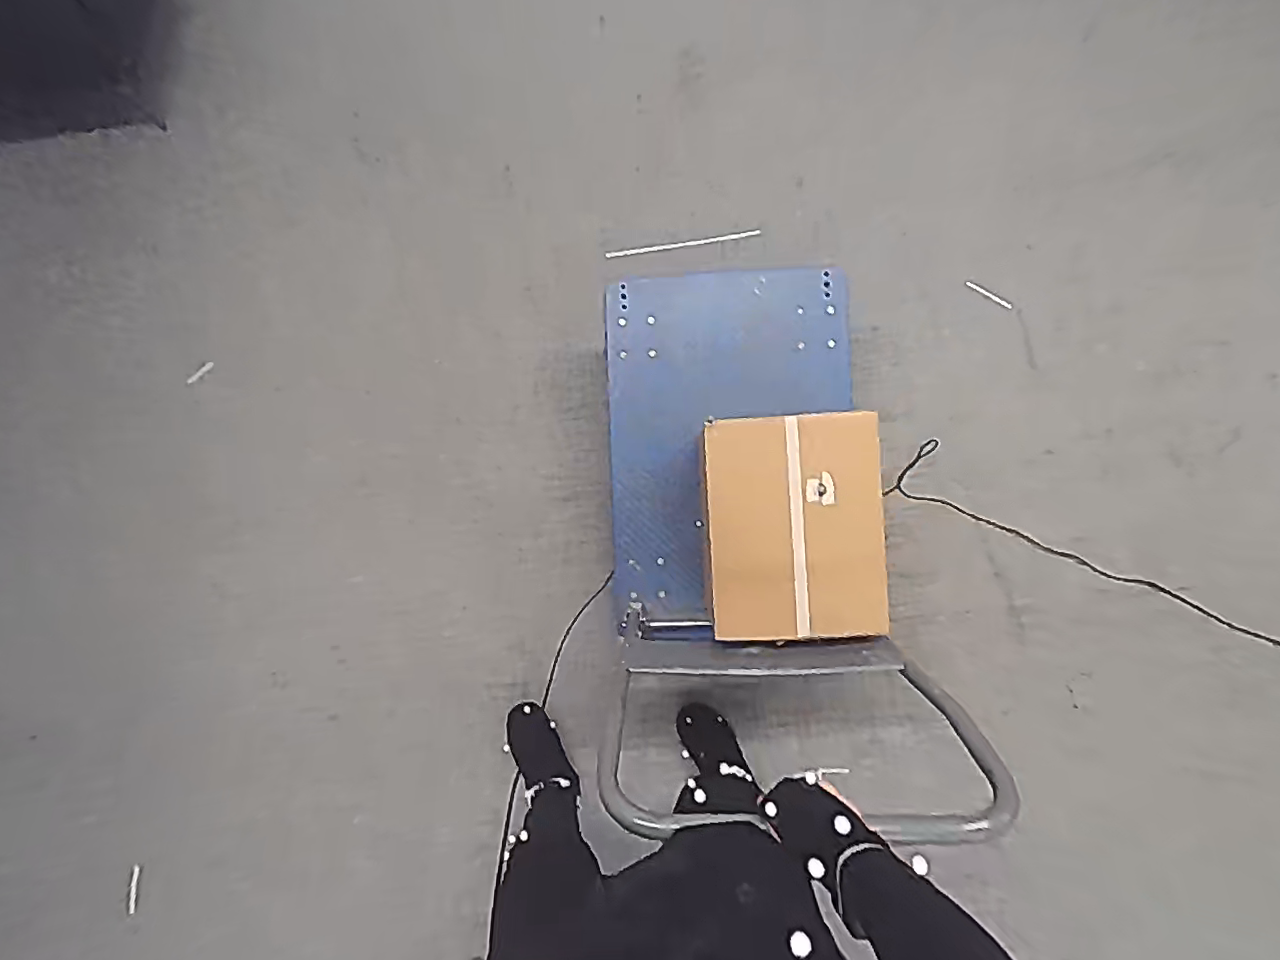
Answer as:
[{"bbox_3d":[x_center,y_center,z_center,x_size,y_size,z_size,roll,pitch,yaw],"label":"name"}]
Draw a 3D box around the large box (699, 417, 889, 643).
[{"bbox_3d":[0.295,0.097,1.138,0.320,0.320,0.408,-4,88,3],"label":"large box"}]
